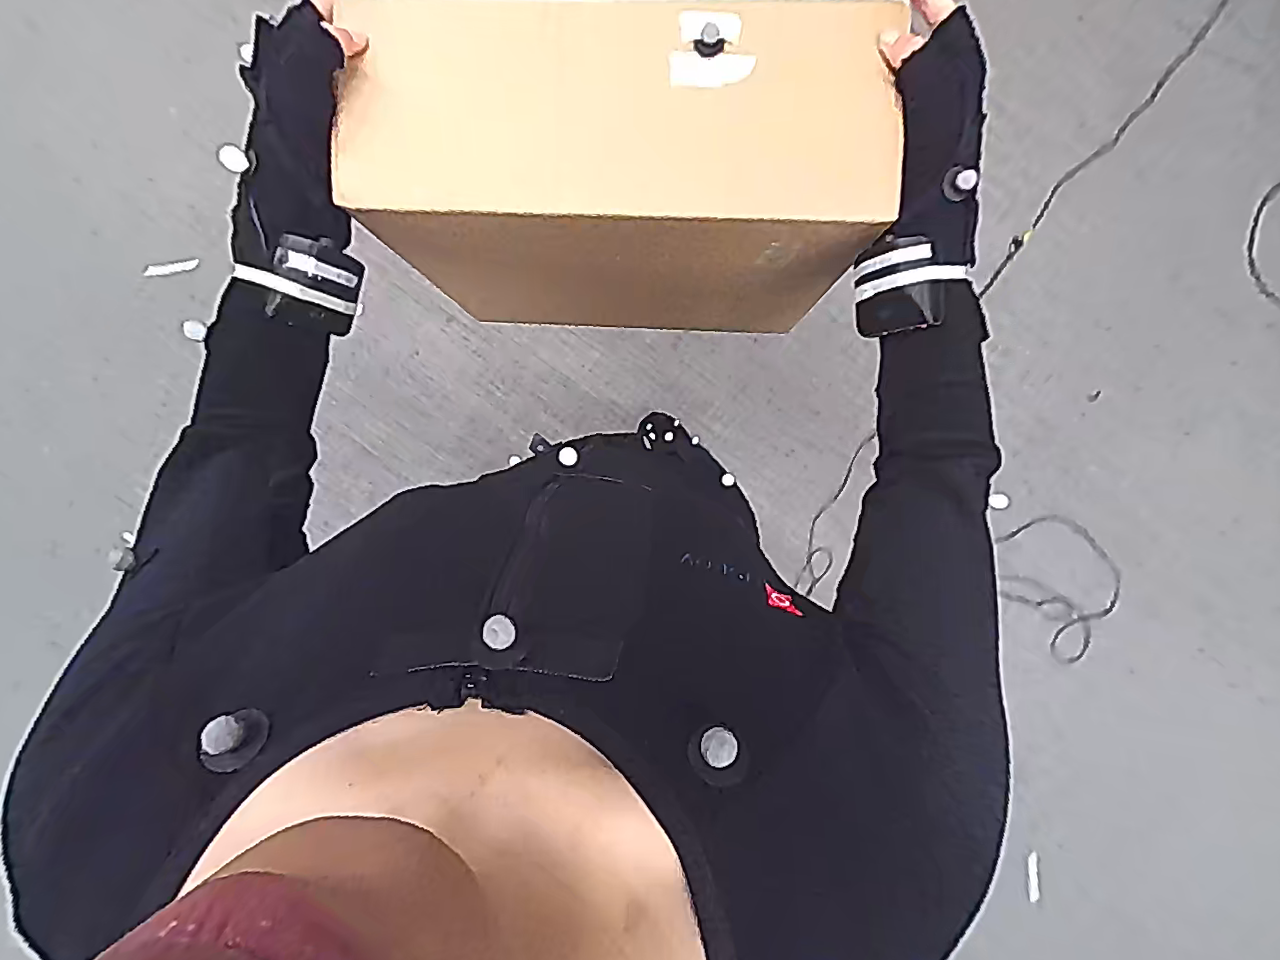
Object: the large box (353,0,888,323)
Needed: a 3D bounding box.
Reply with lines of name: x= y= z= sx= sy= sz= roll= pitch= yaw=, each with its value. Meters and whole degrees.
large box: x=-0.013 y=-0.355 z=0.549 sx=0.408 sy=0.320 sz=0.320 roll=1 pitch=91 yaw=1
